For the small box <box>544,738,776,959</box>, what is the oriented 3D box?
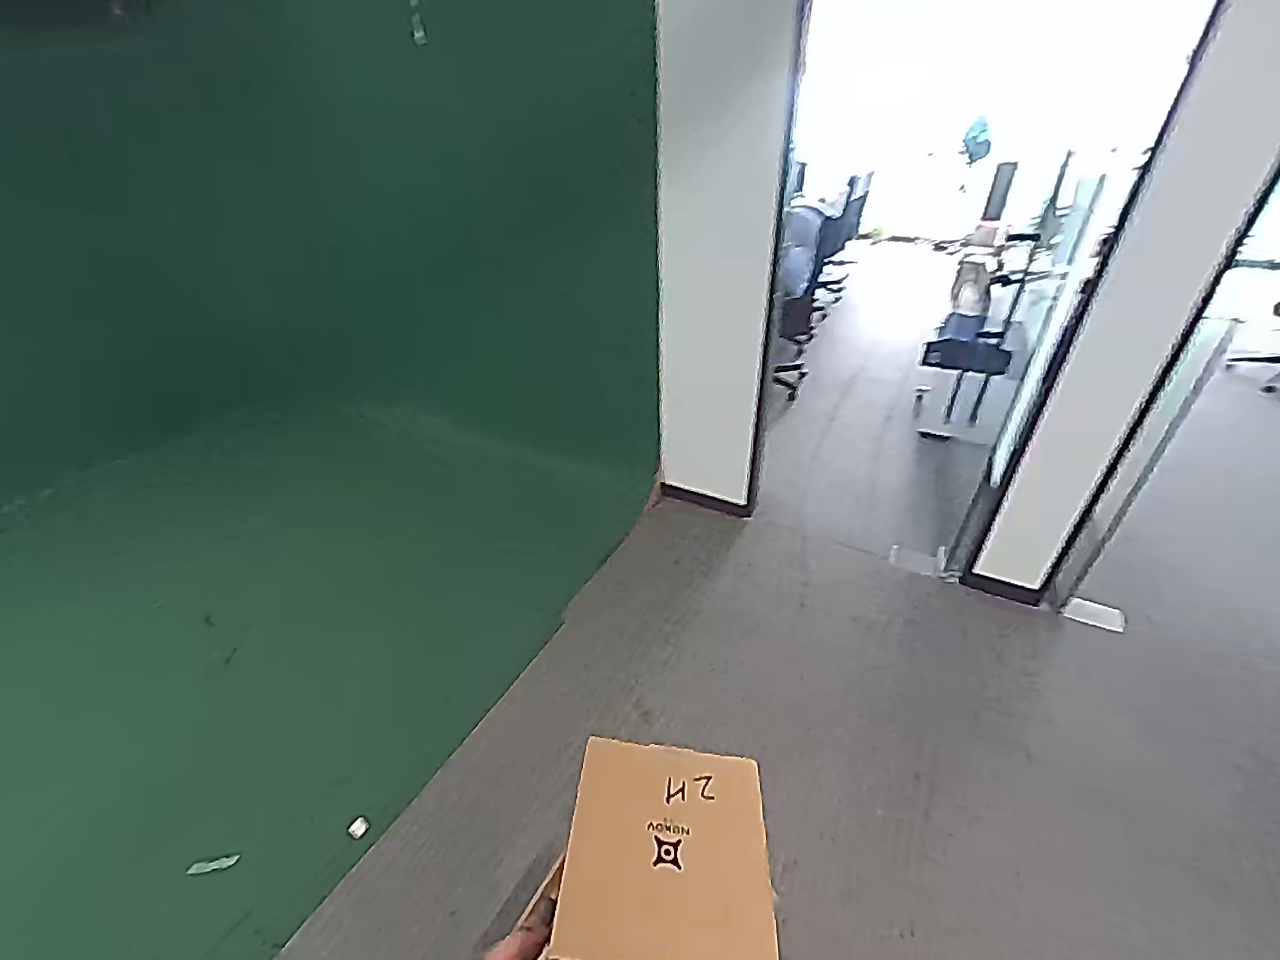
[{"bbox_3d":[0.014,0.368,0.477,0.168,0.176,0.179,8,28,1],"label":"small box"}]
